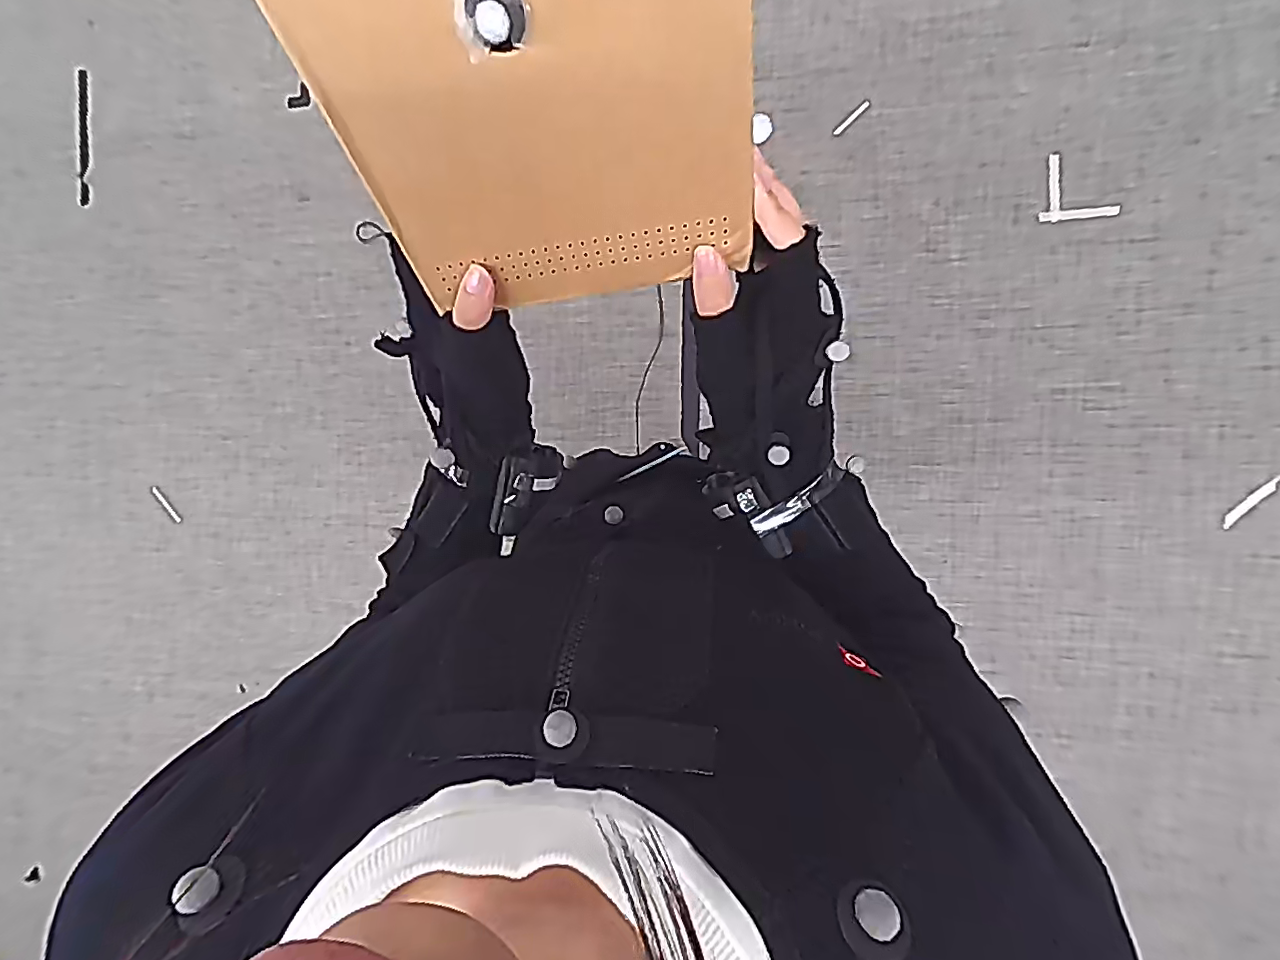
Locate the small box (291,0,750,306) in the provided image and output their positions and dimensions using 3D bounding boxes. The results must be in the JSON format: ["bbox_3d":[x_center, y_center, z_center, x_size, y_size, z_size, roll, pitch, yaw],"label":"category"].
[{"bbox_3d":[-0.038,-0.214,0.289,0.179,0.176,0.168,-6,56,8],"label":"small box"}]
